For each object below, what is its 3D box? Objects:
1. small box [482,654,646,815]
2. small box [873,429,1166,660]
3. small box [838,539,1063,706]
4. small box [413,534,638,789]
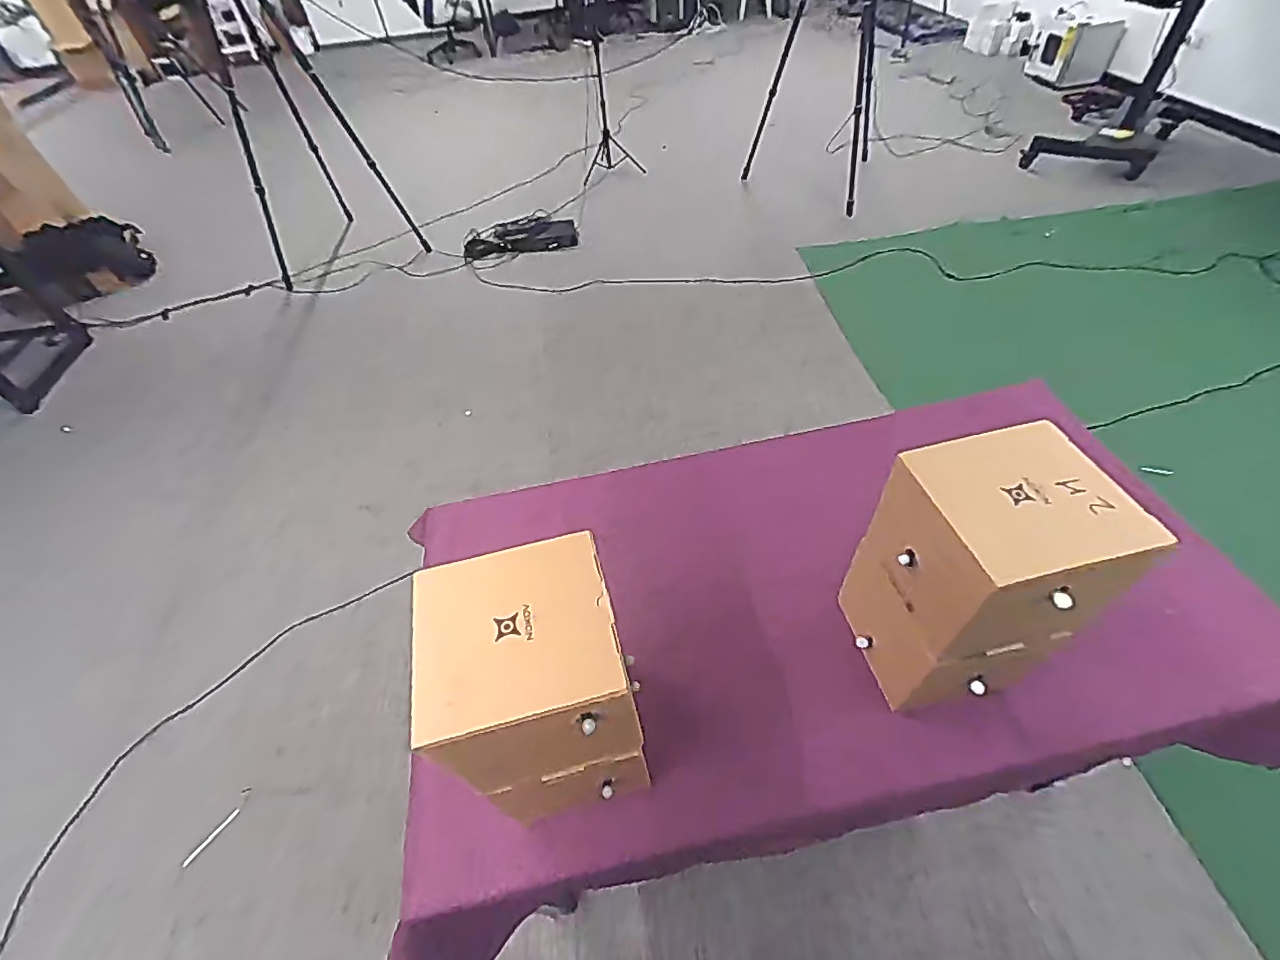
[{"bbox_3d":[-0.091,0.289,0.662,0.168,0.176,0.179,-12,49,-6],"label":"small box"},{"bbox_3d":[0.374,0.073,0.583,0.179,0.176,0.168,-12,50,-4],"label":"small box"},{"bbox_3d":[0.384,0.180,0.709,0.168,0.176,0.179,-11,50,-4],"label":"small box"},{"bbox_3d":[-0.106,0.184,0.538,0.179,0.176,0.168,-13,50,-8],"label":"small box"}]
